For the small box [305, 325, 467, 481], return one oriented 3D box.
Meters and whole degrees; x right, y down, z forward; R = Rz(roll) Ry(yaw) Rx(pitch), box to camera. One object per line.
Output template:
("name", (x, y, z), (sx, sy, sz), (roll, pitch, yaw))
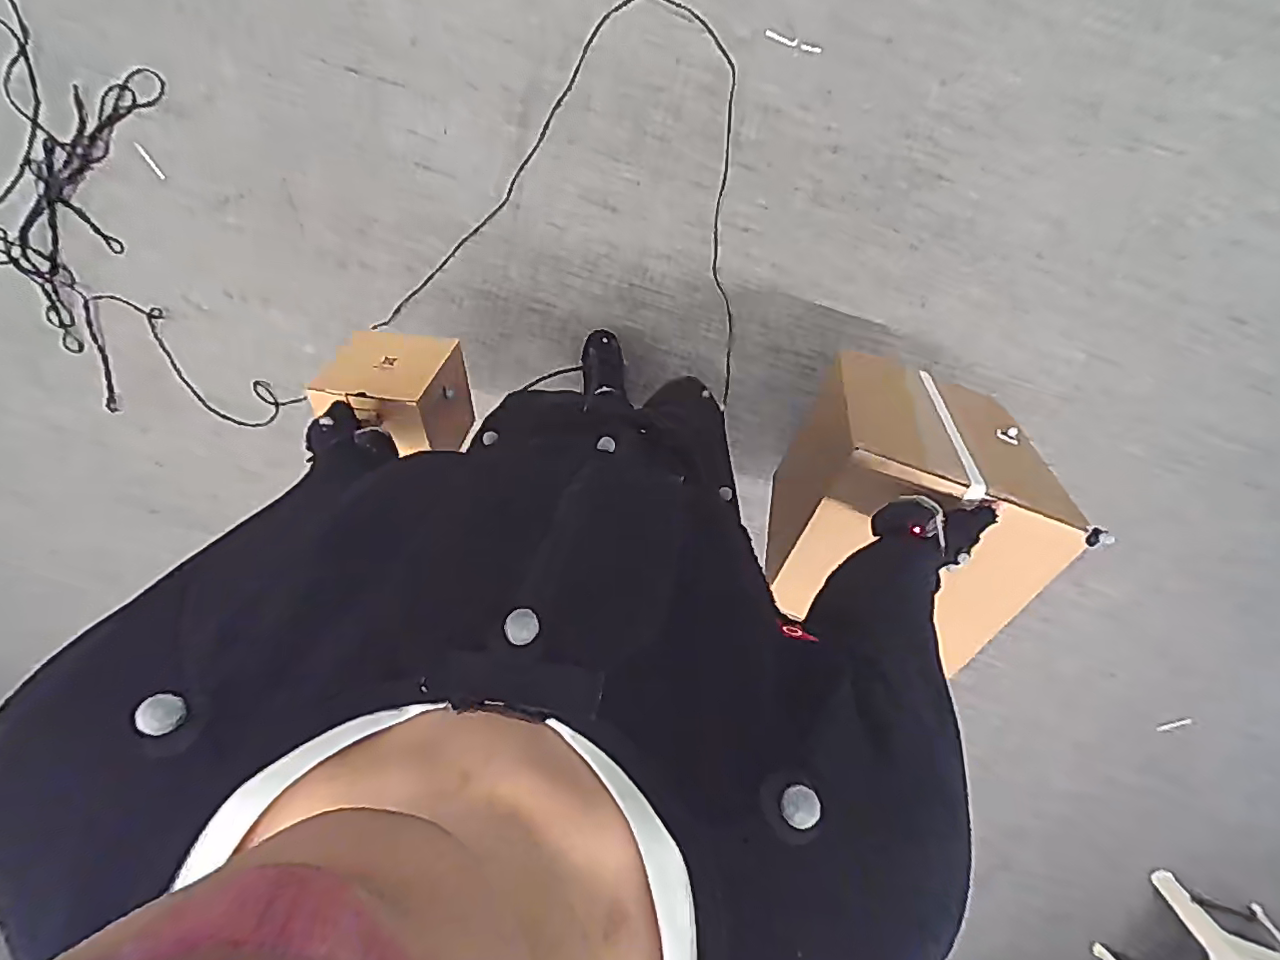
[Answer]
("small box", (-0.392, -0.125, 0.875), (0.168, 0.179, 0.176), (7, 136, 2))
